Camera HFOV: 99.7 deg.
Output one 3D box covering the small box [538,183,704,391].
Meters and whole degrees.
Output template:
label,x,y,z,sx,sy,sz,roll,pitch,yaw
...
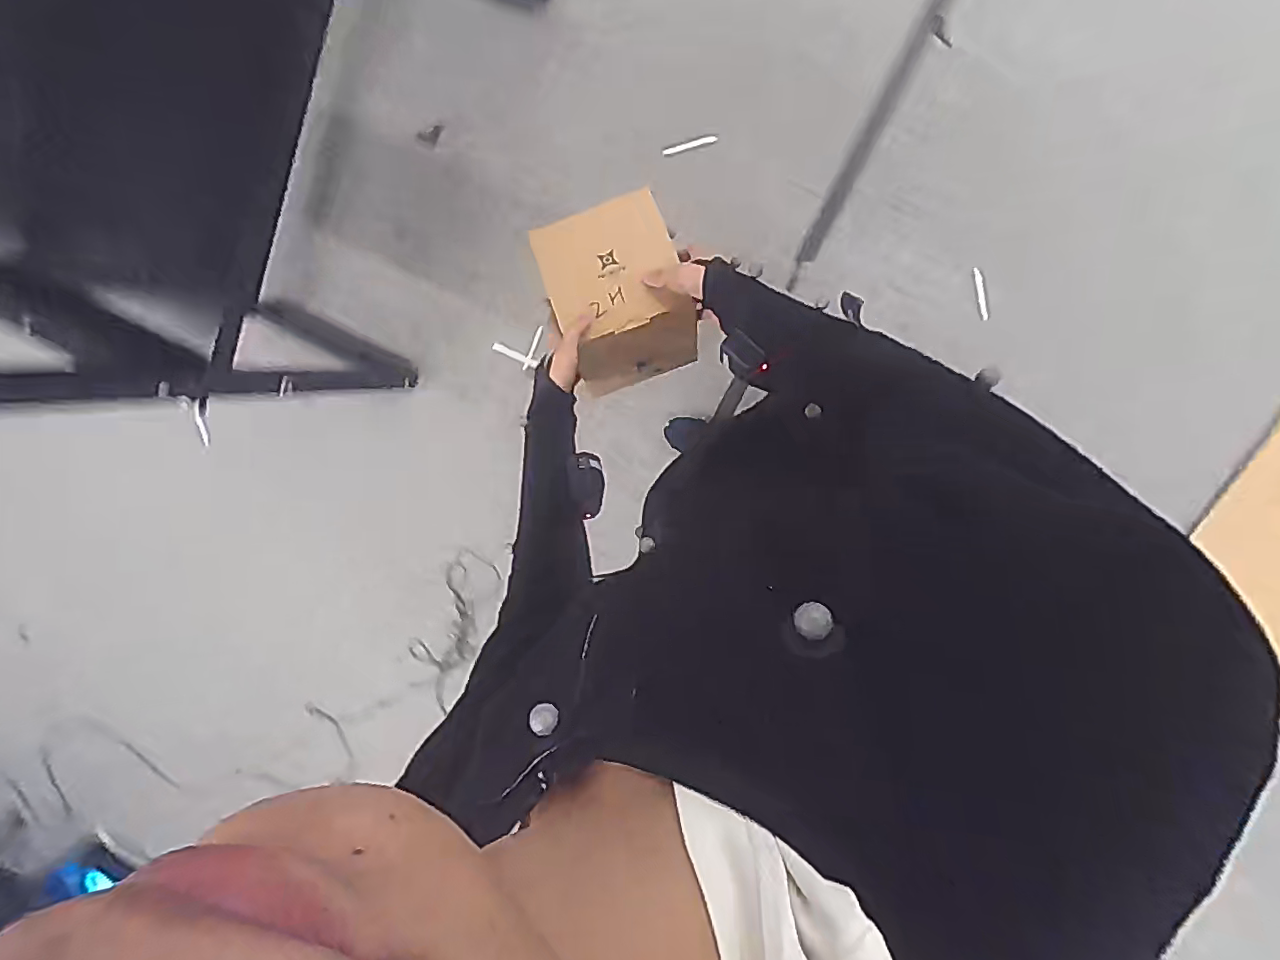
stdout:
label,x,y,z,sx,sy,sz,roll,pitch,yaw
small box,-0.019,-0.246,0.727,0.168,0.176,0.179,-19,77,3
